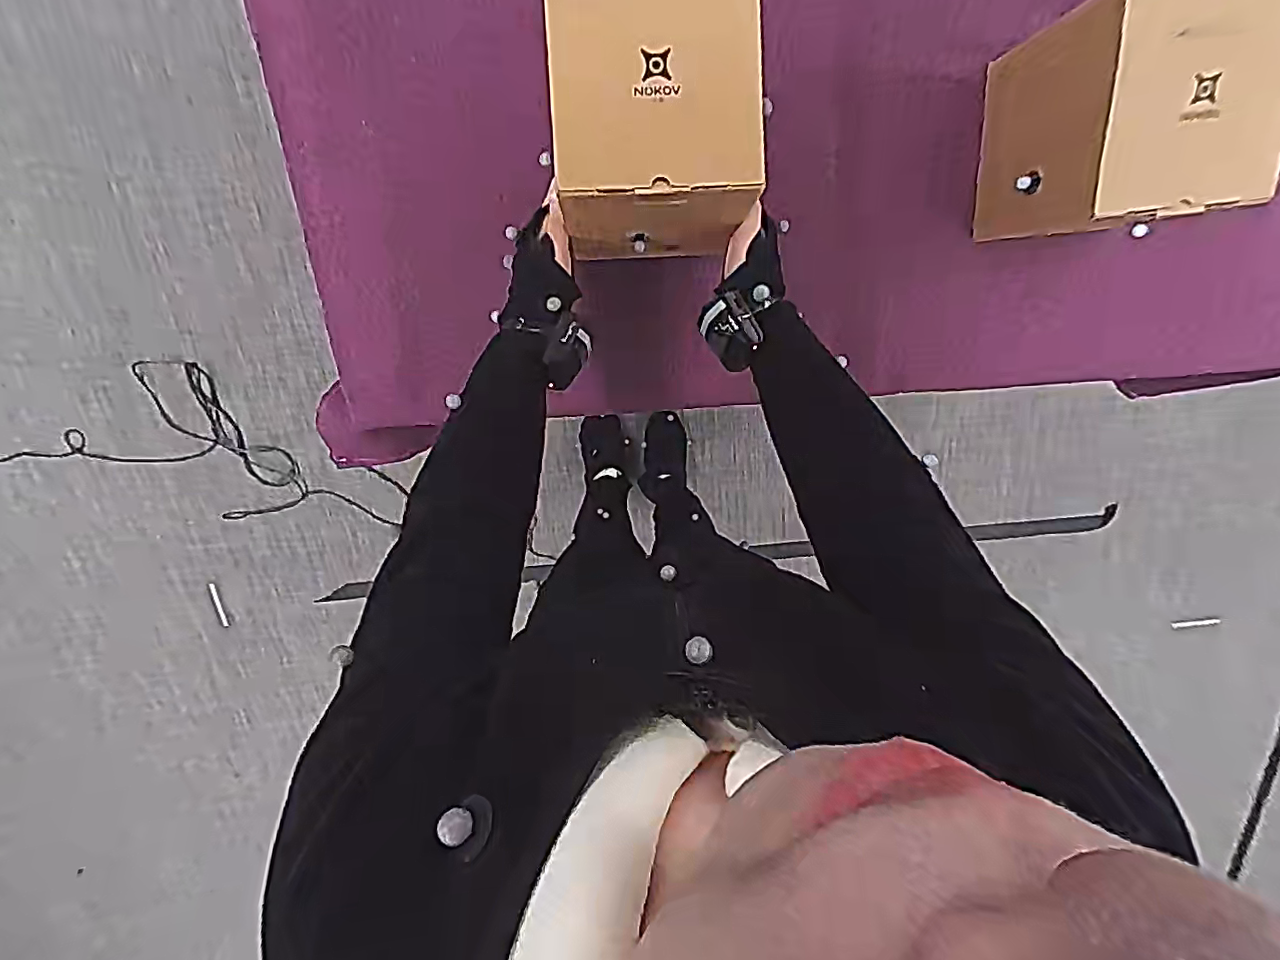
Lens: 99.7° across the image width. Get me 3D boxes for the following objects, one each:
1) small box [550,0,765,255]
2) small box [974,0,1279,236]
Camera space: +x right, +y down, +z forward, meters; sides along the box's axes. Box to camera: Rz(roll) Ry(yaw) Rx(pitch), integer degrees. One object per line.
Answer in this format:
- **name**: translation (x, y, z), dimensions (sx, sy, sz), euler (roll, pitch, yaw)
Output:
- **small box**: translation (0.009, -0.321, 0.493), dimensions (0.168, 0.176, 0.179), euler (-3, 97, -3)
- **small box**: translation (0.459, -0.341, 0.525), dimensions (0.168, 0.176, 0.179), euler (-6, 108, -2)
